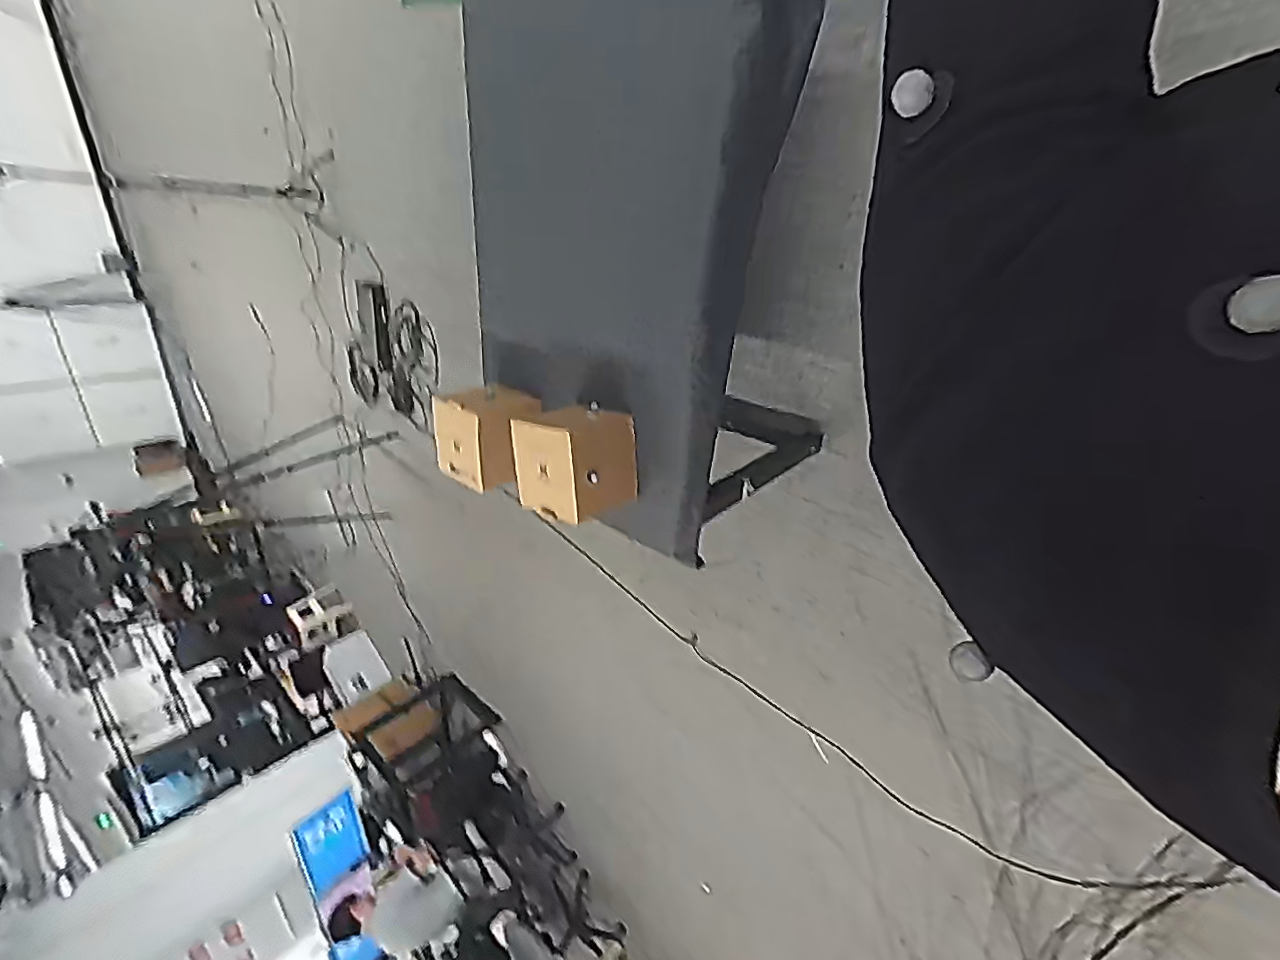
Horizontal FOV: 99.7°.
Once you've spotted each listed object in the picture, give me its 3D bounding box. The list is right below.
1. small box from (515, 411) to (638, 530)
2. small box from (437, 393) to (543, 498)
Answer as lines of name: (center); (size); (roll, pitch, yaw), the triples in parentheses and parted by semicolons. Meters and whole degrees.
small box: (-0.116, -0.027, 1.040); (0.168, 0.176, 0.179); (12, 113, 38)
small box: (-0.328, -0.086, 1.208); (0.168, 0.176, 0.179); (22, 120, 34)
